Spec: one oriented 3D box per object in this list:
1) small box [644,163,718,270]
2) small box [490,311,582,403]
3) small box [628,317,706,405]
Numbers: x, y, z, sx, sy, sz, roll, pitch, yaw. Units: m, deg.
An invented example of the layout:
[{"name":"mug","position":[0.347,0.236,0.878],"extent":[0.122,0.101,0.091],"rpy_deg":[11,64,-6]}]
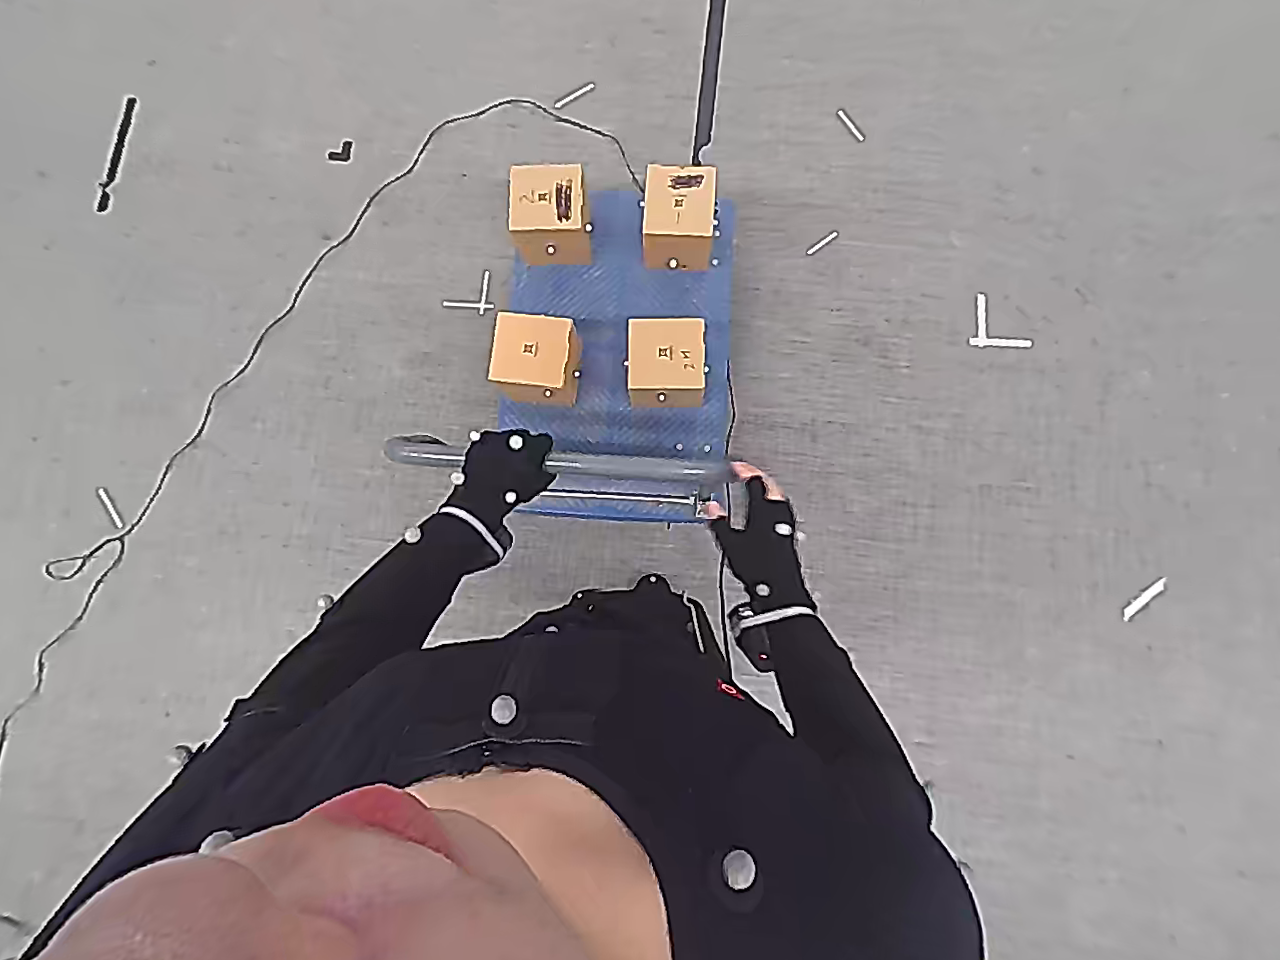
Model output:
[{"name":"small box","position":[0.098,-0.648,1.341],"extent":[0.168,0.176,0.179],"rpy_deg":[4,85,3]},{"name":"small box","position":[-0.245,-0.291,1.311],"extent":[0.179,0.176,0.168],"rpy_deg":[6,83,1]},{"name":"small box","position":[0.065,-0.280,1.299],"extent":[0.179,0.176,0.168],"rpy_deg":[0,84,2]}]
